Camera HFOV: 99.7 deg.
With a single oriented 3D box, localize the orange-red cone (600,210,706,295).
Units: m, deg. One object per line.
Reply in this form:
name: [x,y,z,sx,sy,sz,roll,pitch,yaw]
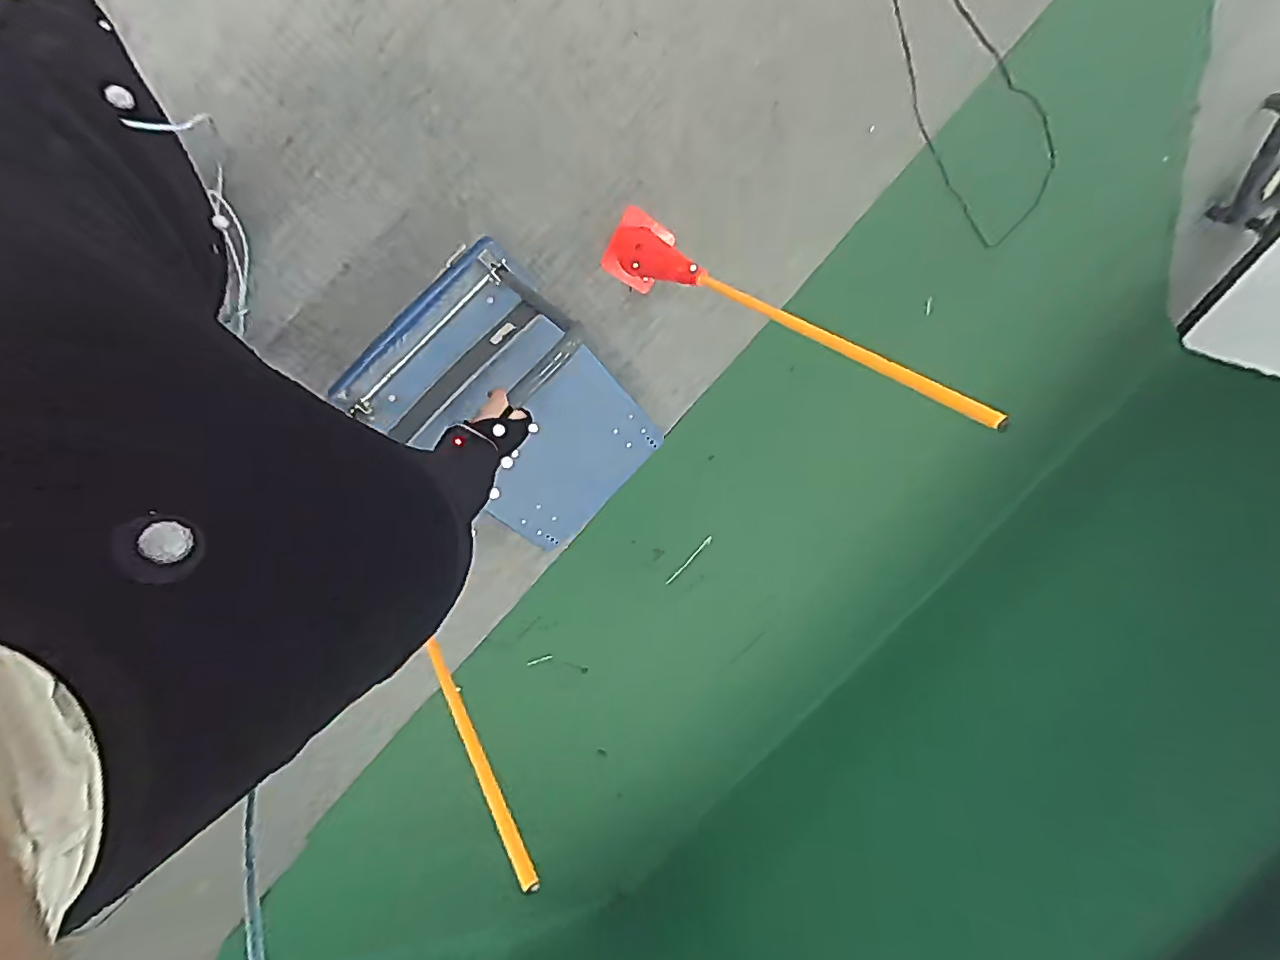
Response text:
orange-red cone: [0.073,-0.611,1.538,0.198,0.360,0.199,19,108,-41]
